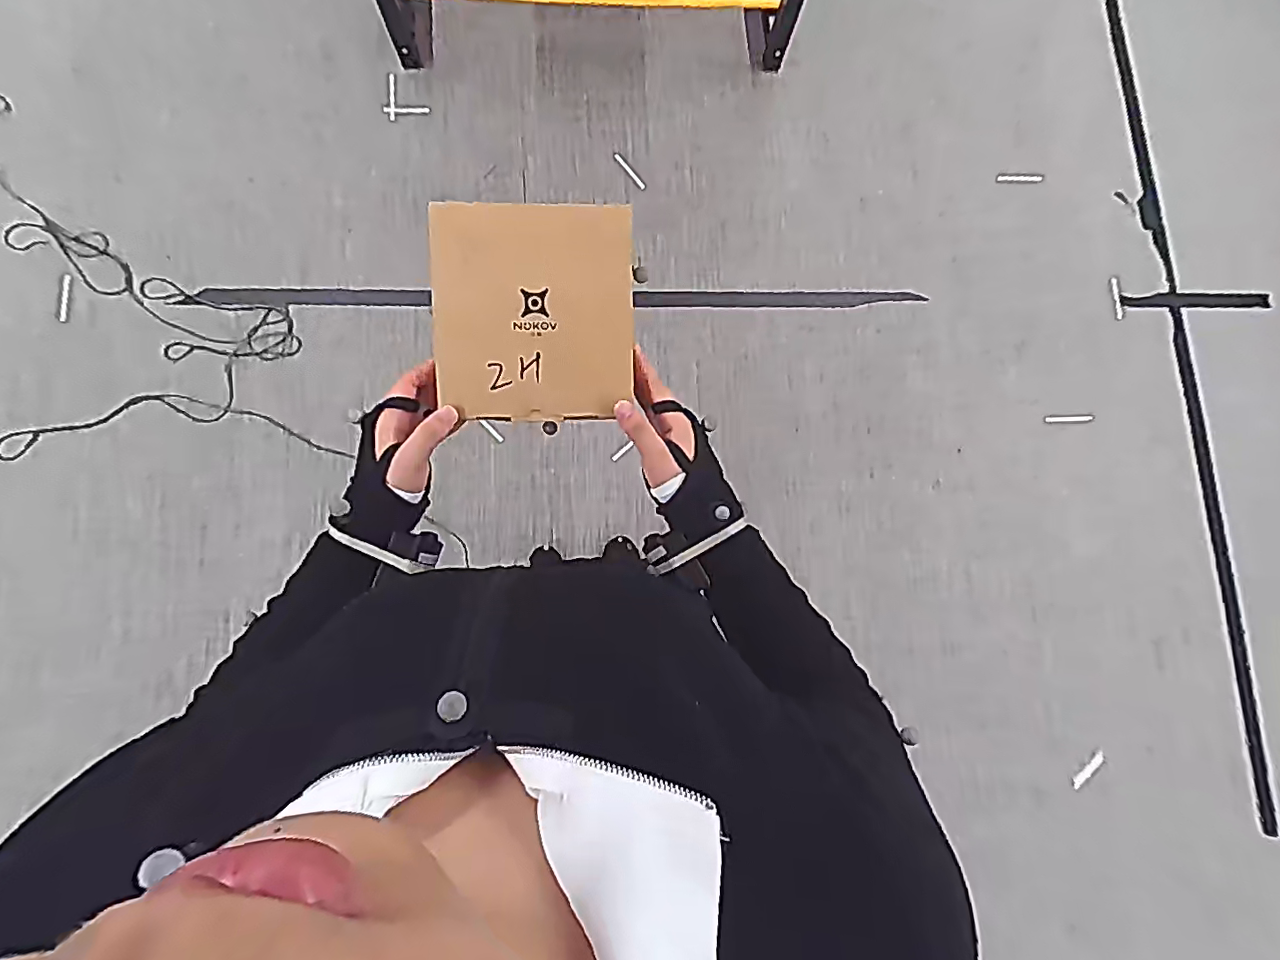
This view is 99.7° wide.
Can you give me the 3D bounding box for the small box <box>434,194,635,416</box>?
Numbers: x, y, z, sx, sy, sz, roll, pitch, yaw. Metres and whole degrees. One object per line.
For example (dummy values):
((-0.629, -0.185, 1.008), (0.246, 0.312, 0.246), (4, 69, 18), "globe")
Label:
((-0.091, -0.154, 0.529), (0.168, 0.176, 0.179), (-1, 96, -2), "small box")
